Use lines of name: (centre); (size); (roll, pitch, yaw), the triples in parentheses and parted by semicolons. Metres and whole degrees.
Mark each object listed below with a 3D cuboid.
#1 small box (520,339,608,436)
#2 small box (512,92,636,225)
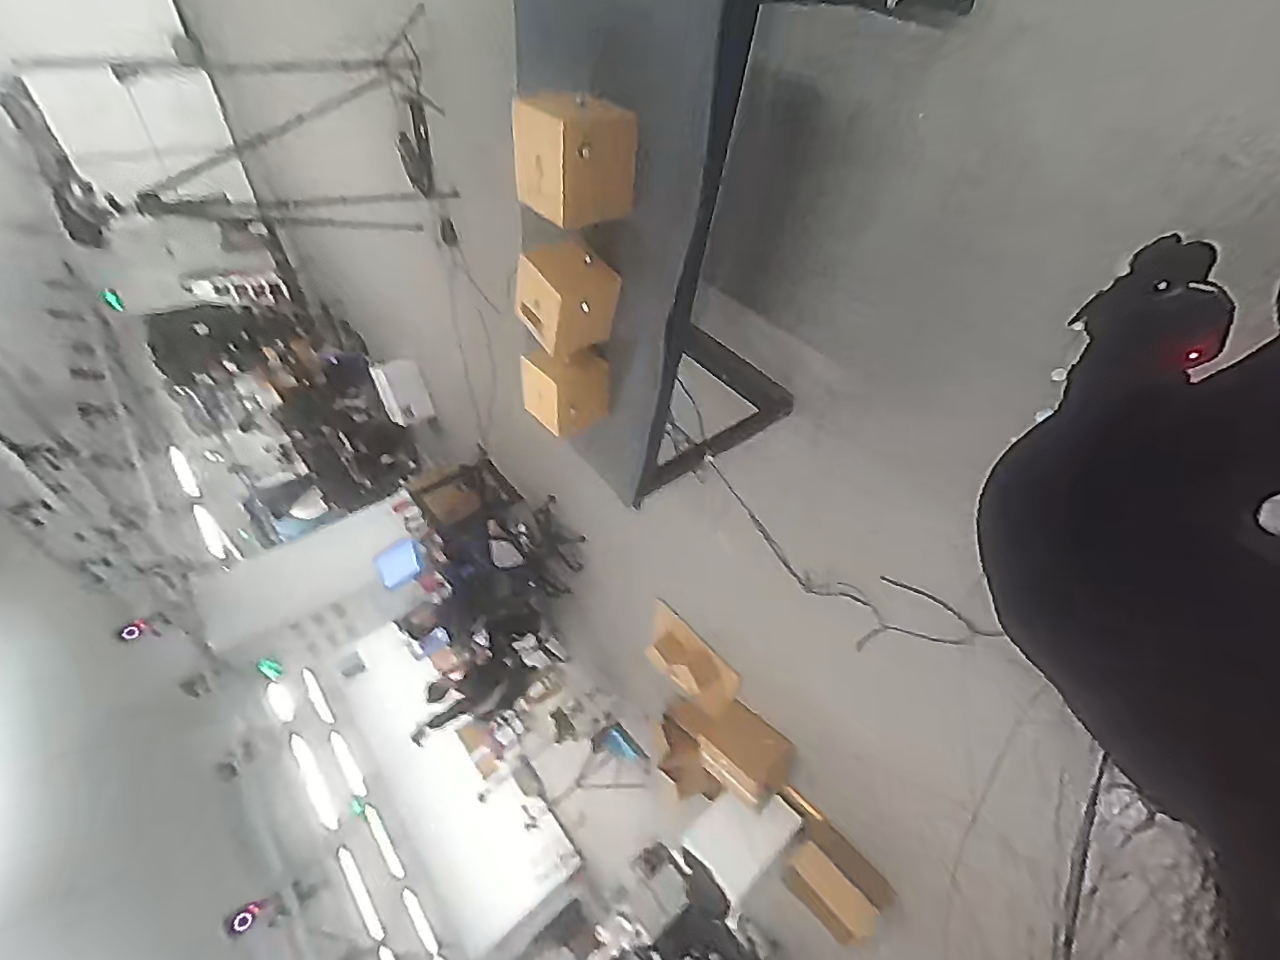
small box: (-0.198, -0.252, 1.436); (0.168, 0.176, 0.179); (40, 143, 31)
small box: (-0.123, -0.614, 1.025); (0.168, 0.176, 0.179); (43, 145, 29)
